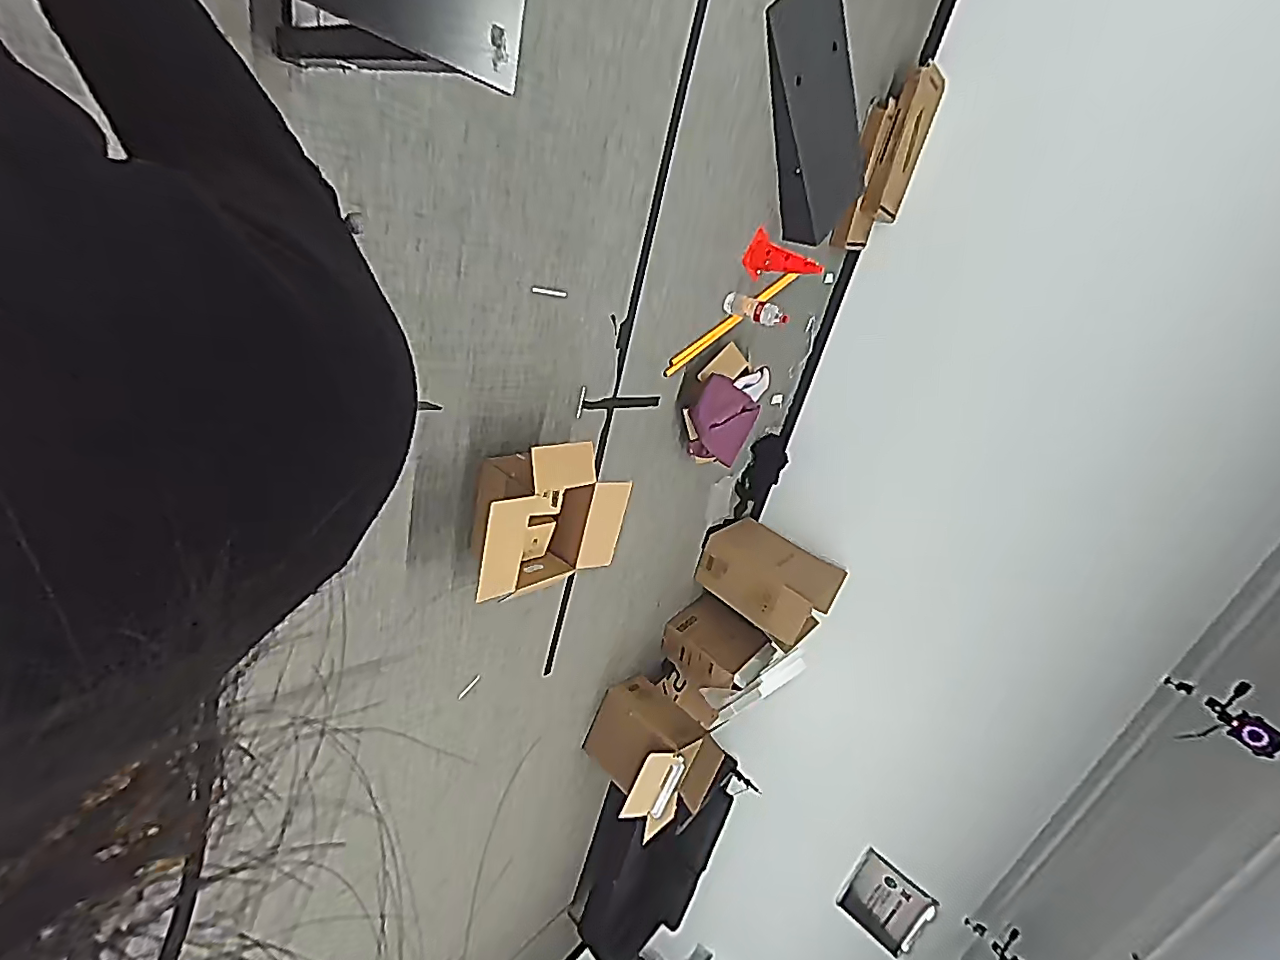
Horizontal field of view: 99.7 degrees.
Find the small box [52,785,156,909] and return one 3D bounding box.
[{"bbox_3d":[-1.418,0.959,1.433,0.179,0.176,0.168,-7,119,-50],"label":"small box"}]
